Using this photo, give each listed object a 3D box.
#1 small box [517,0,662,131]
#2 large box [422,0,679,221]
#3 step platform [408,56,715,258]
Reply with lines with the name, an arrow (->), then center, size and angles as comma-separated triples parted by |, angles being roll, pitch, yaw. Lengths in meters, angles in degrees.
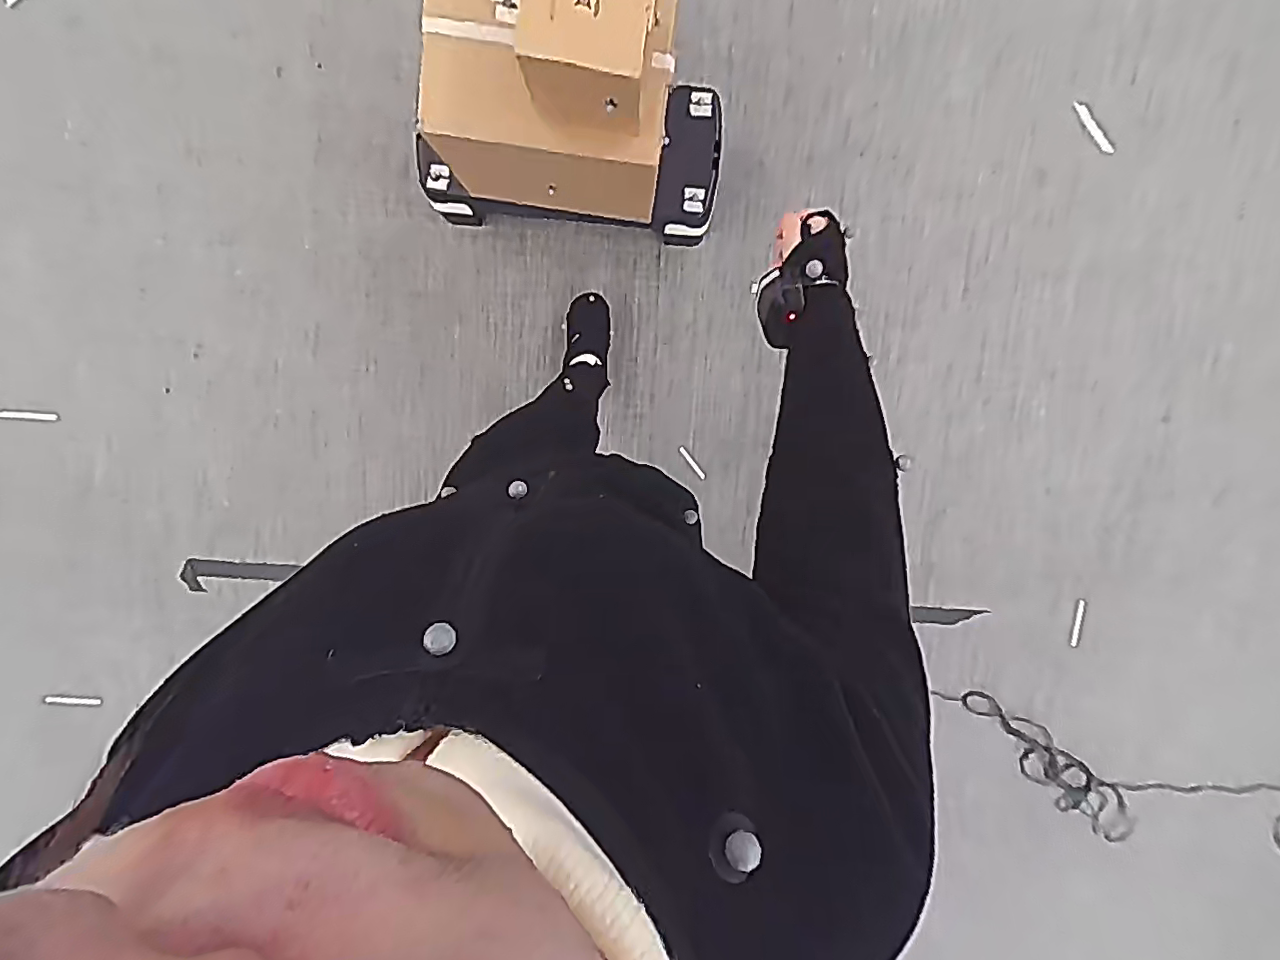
small box -> -0.065, -0.640, 0.783 | 0.179, 0.176, 0.168 | 10, 99, -2
large box -> -0.145, -0.712, 1.019 | 0.408, 0.320, 0.320 | 7, 98, -1
step platform -> -0.171, -0.739, 1.255 | 0.684, 0.204, 0.286 | 9, 98, -2
